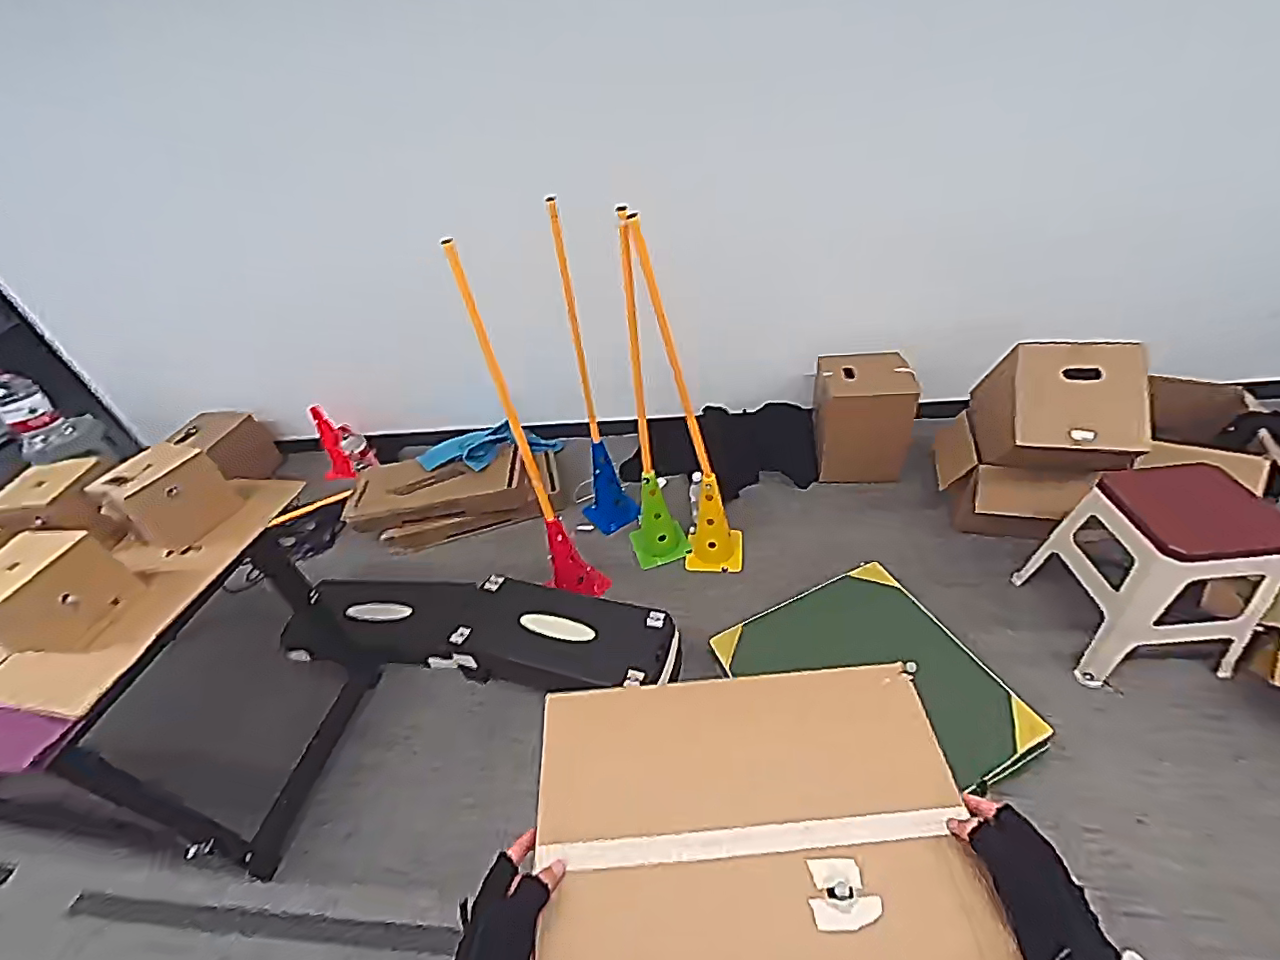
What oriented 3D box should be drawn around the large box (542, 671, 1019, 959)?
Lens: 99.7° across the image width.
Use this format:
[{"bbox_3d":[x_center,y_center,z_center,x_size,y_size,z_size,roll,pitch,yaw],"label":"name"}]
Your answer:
[{"bbox_3d":[0.116,0.451,0.616,0.408,0.320,0.320,-5,45,1],"label":"large box"}]
